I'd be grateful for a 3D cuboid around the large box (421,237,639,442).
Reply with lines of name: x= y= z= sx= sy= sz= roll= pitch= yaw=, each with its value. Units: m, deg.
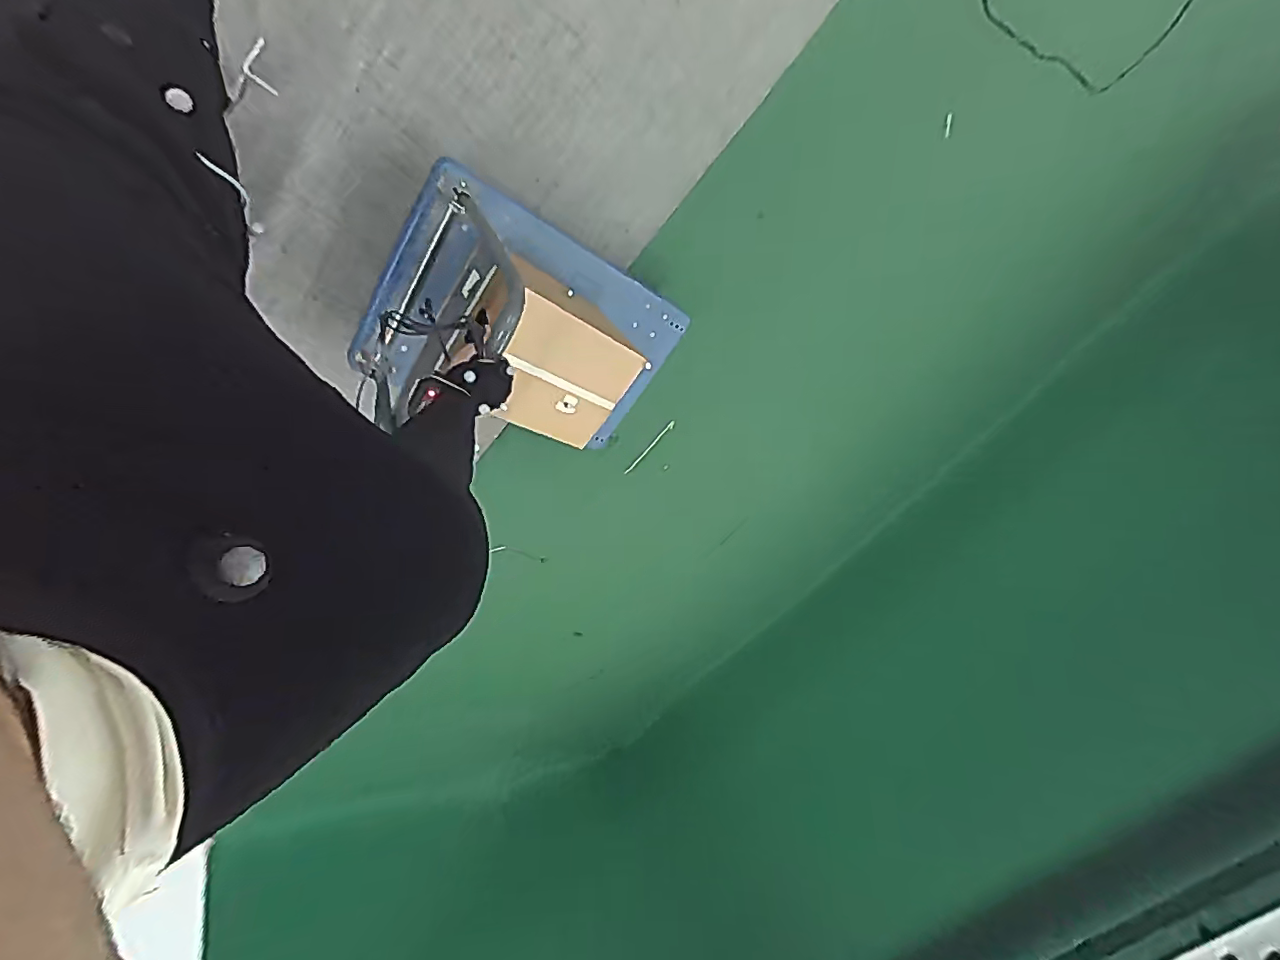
large box: x=-0.291 y=-0.353 z=1.411 sx=0.408 sy=0.320 sz=0.320 roll=19 pitch=118 yaw=-46
